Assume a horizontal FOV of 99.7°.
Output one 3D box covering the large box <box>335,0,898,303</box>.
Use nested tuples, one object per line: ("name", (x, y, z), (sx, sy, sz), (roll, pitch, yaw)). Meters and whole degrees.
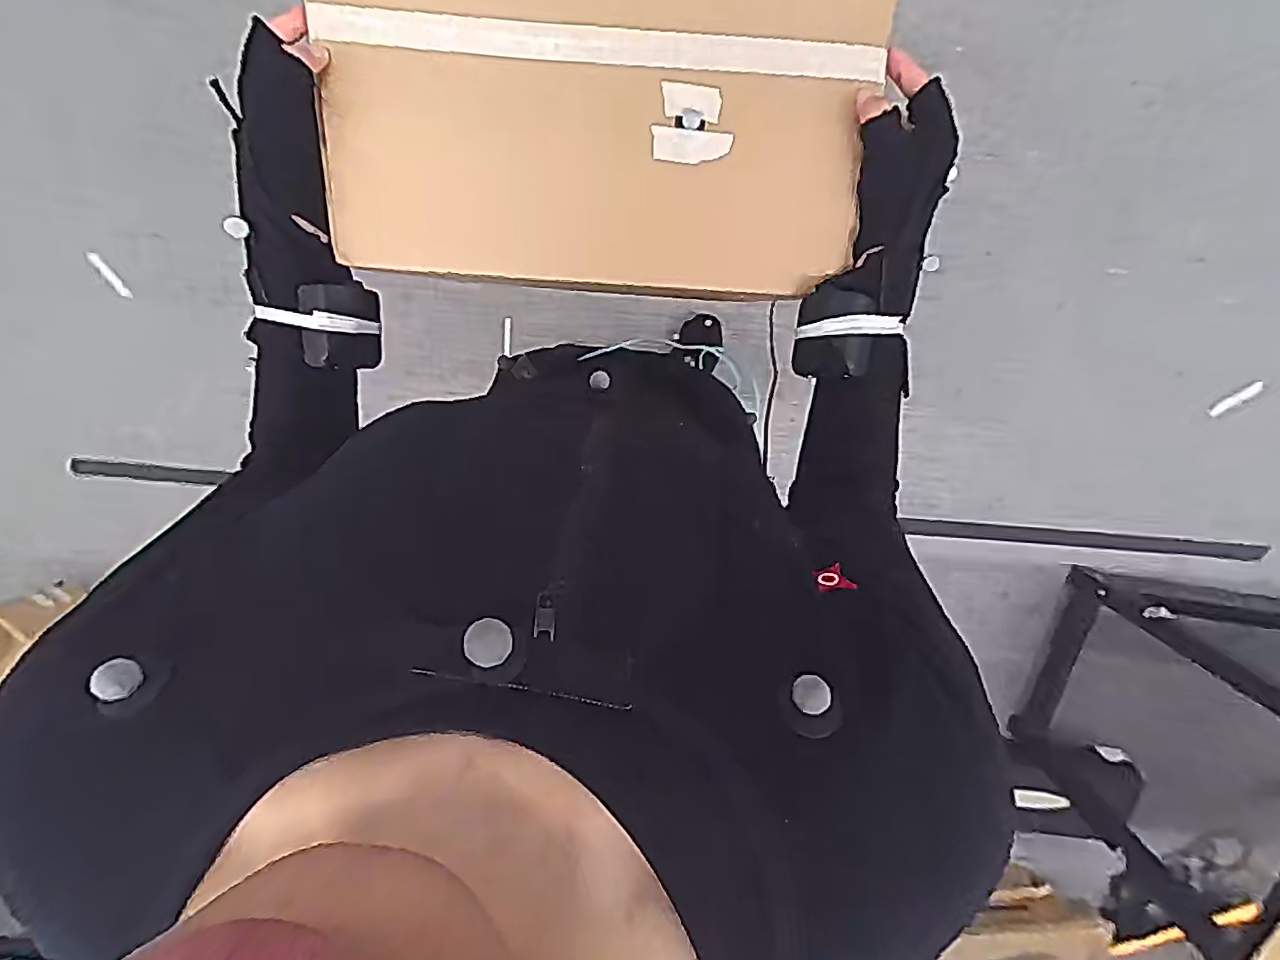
("large box", (-0.024, -0.349, 0.534), (0.408, 0.320, 0.320), (4, 109, -3))
